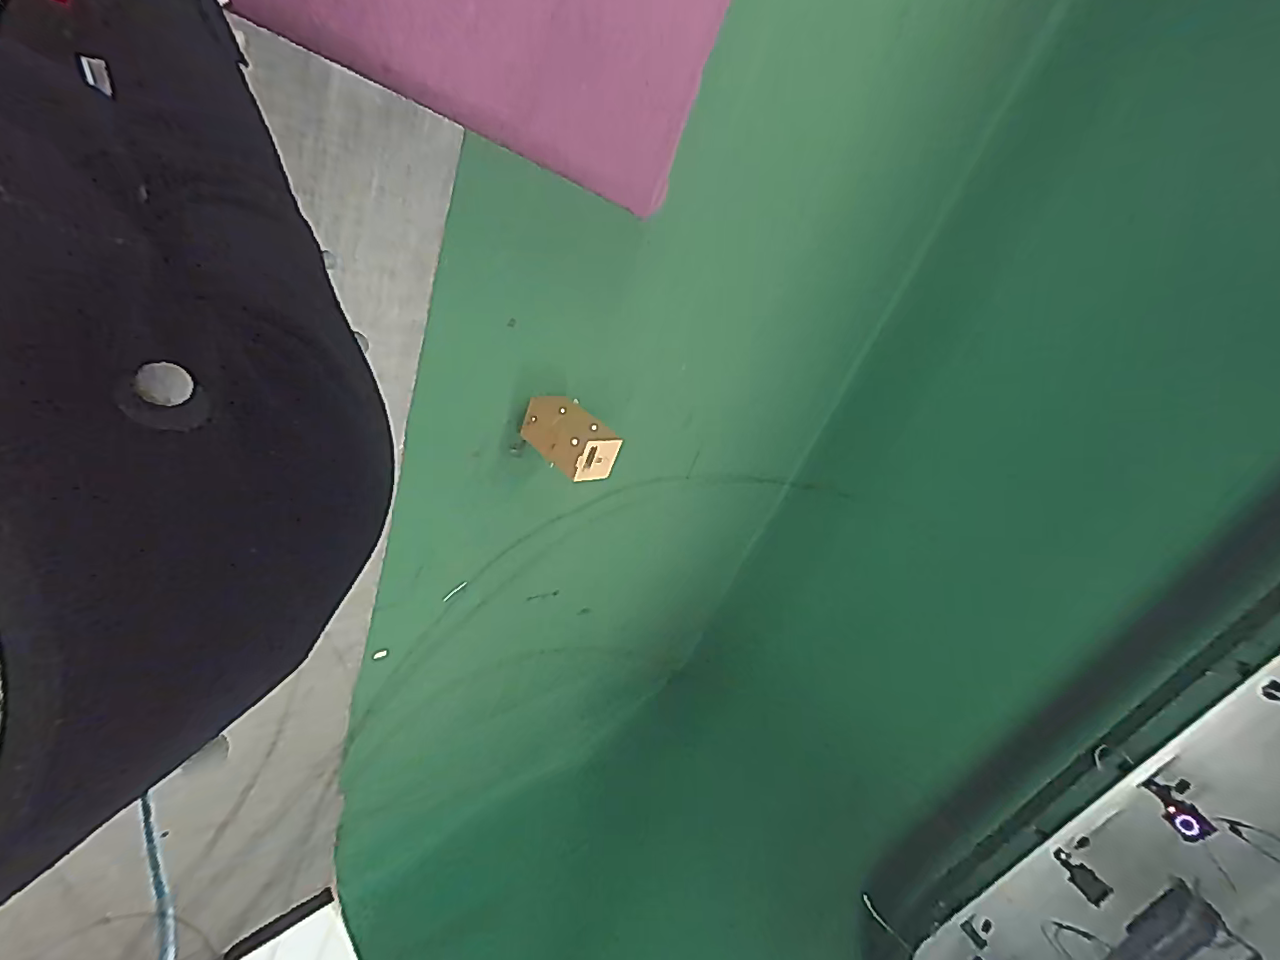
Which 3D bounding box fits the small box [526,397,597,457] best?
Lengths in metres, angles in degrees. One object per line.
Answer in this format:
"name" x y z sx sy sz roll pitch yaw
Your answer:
"small box" -0.297 -0.203 2.032 0.179 0.176 0.168 -6 128 -47
